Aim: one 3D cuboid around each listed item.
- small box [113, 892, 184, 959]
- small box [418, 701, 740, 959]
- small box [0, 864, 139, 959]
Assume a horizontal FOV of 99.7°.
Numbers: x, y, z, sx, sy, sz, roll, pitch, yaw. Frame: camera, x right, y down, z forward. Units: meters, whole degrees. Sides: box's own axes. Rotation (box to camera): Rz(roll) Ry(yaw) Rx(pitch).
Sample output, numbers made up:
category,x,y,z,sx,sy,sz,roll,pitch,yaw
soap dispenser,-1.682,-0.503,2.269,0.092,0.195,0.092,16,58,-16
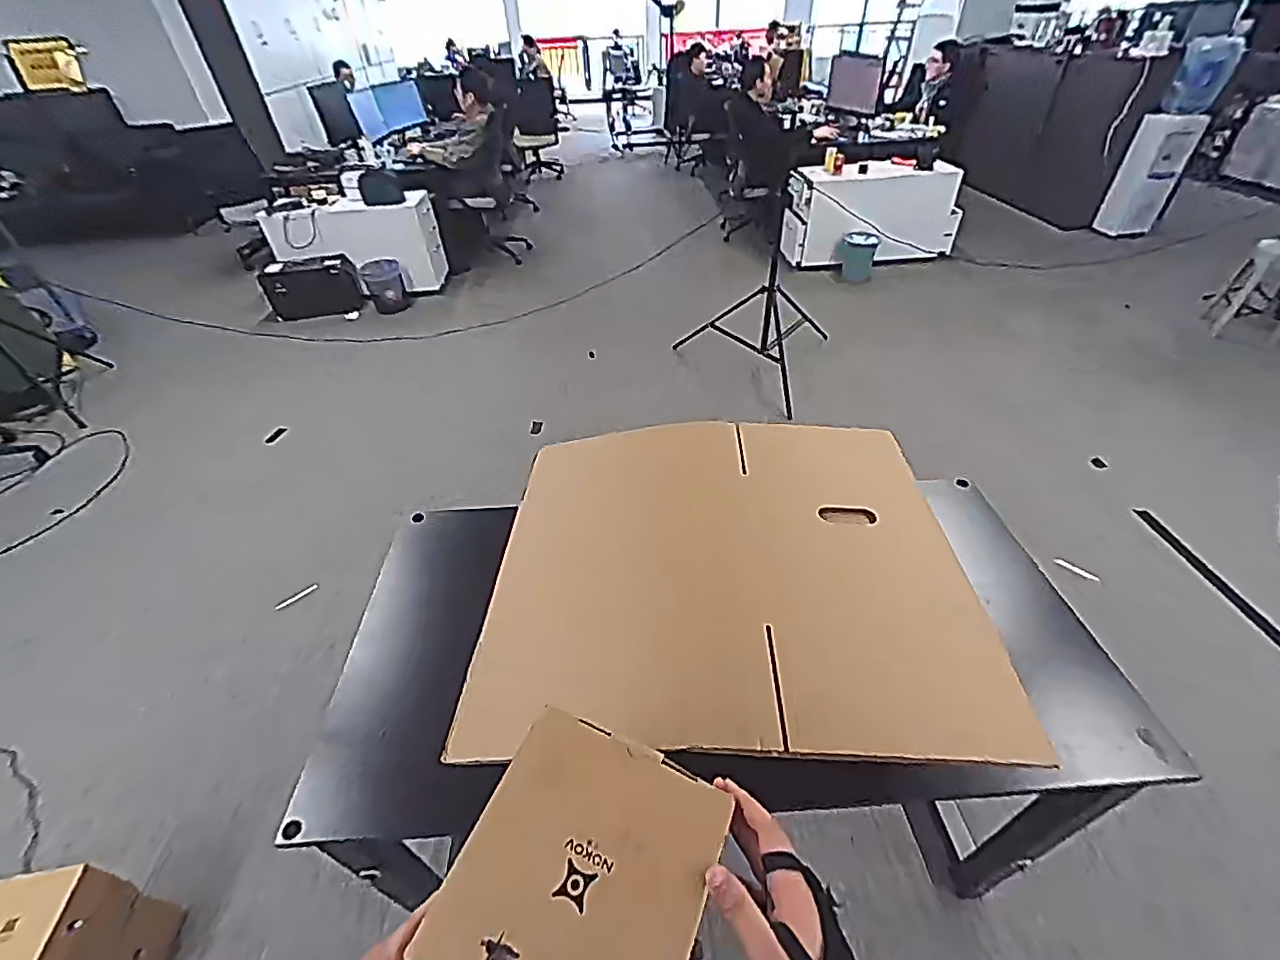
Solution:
category,x,y,z,sx,sy,sz,roll,pitch,yaw
small box,-1.104,0.991,1.120,0.168,0.176,0.179,-7,42,-4
small box,-0.035,0.318,0.430,0.168,0.176,0.179,19,50,17
small box,-1.114,0.864,1.018,0.168,0.176,0.179,-8,40,-7
